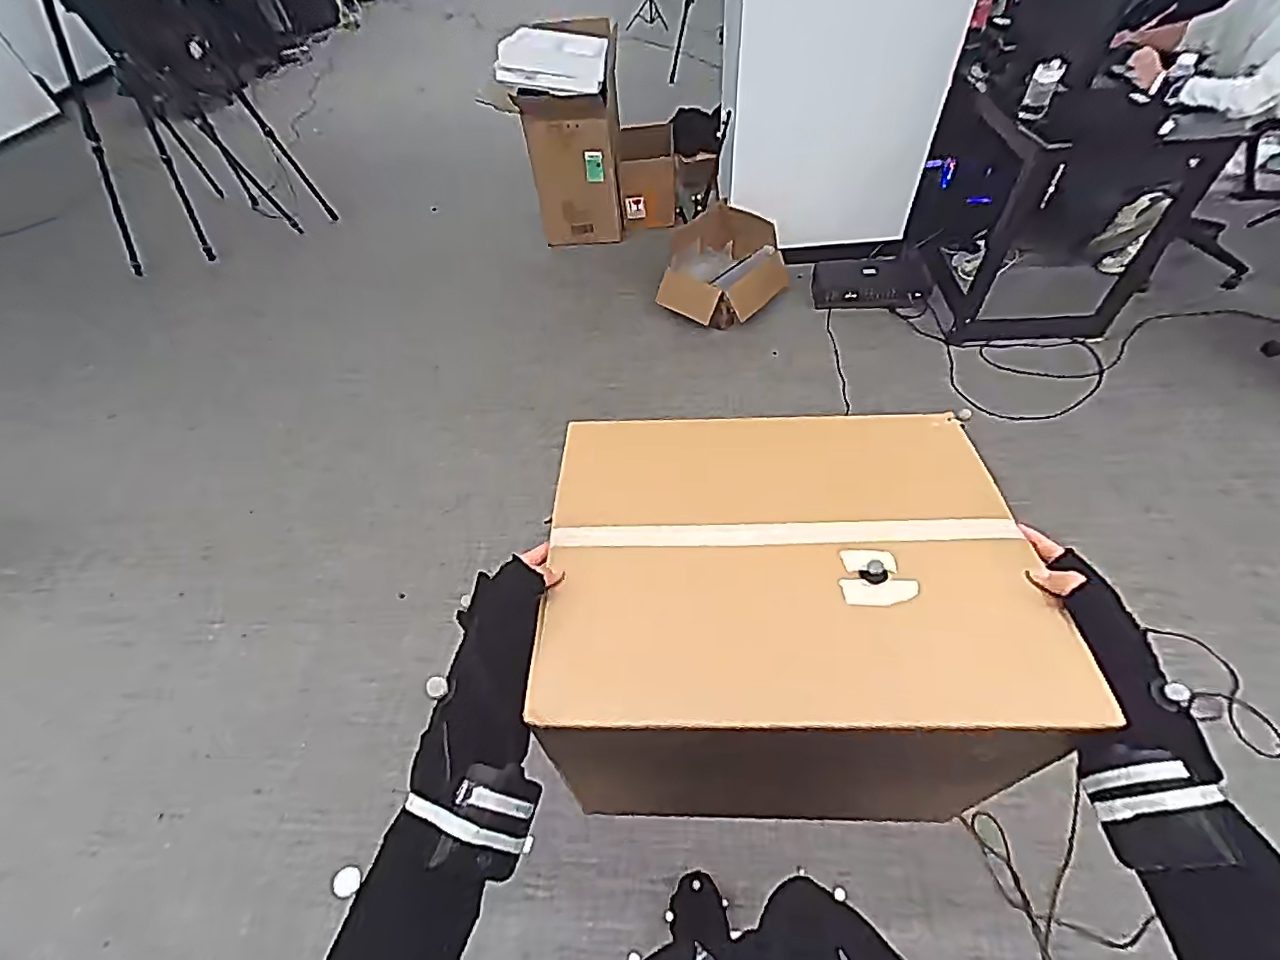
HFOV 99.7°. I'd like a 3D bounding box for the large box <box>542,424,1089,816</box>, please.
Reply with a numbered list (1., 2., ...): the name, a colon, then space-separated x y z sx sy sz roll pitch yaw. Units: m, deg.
1. large box: 0.130 0.159 0.599 0.408 0.320 0.320 -1 48 3
